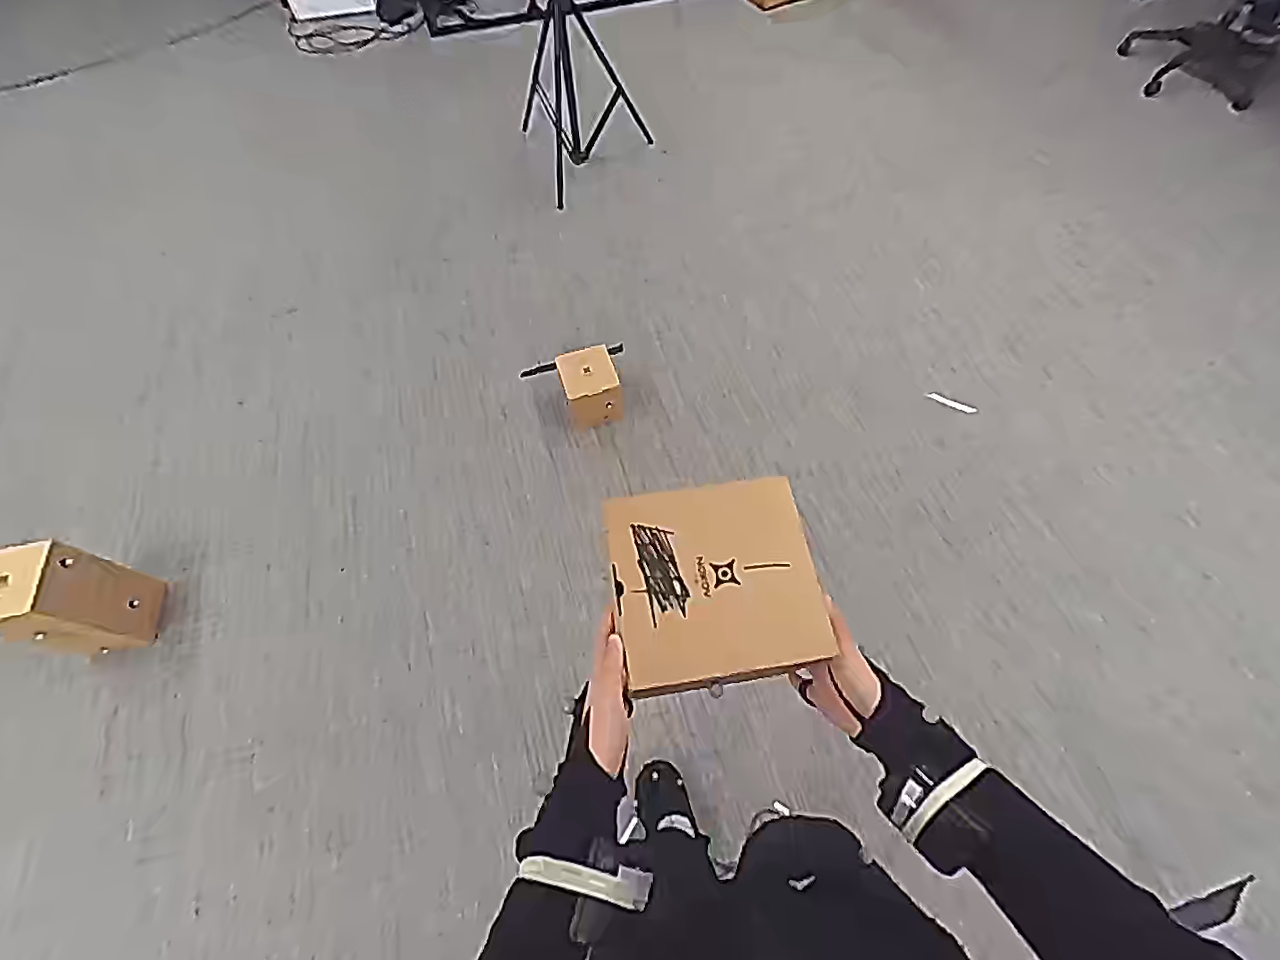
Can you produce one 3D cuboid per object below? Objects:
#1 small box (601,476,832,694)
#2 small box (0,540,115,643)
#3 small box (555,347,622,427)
[{"bbox_3d":[0.061,0.113,0.541,0.179,0.176,0.168,-8,66,-4],"label":"small box"},{"bbox_3d":[-1.392,0.265,1.262,0.168,0.176,0.179,-12,63,-4],"label":"small box"},{"bbox_3d":[-0.160,-0.286,1.714,0.168,0.176,0.179,-17,62,-9],"label":"small box"}]
